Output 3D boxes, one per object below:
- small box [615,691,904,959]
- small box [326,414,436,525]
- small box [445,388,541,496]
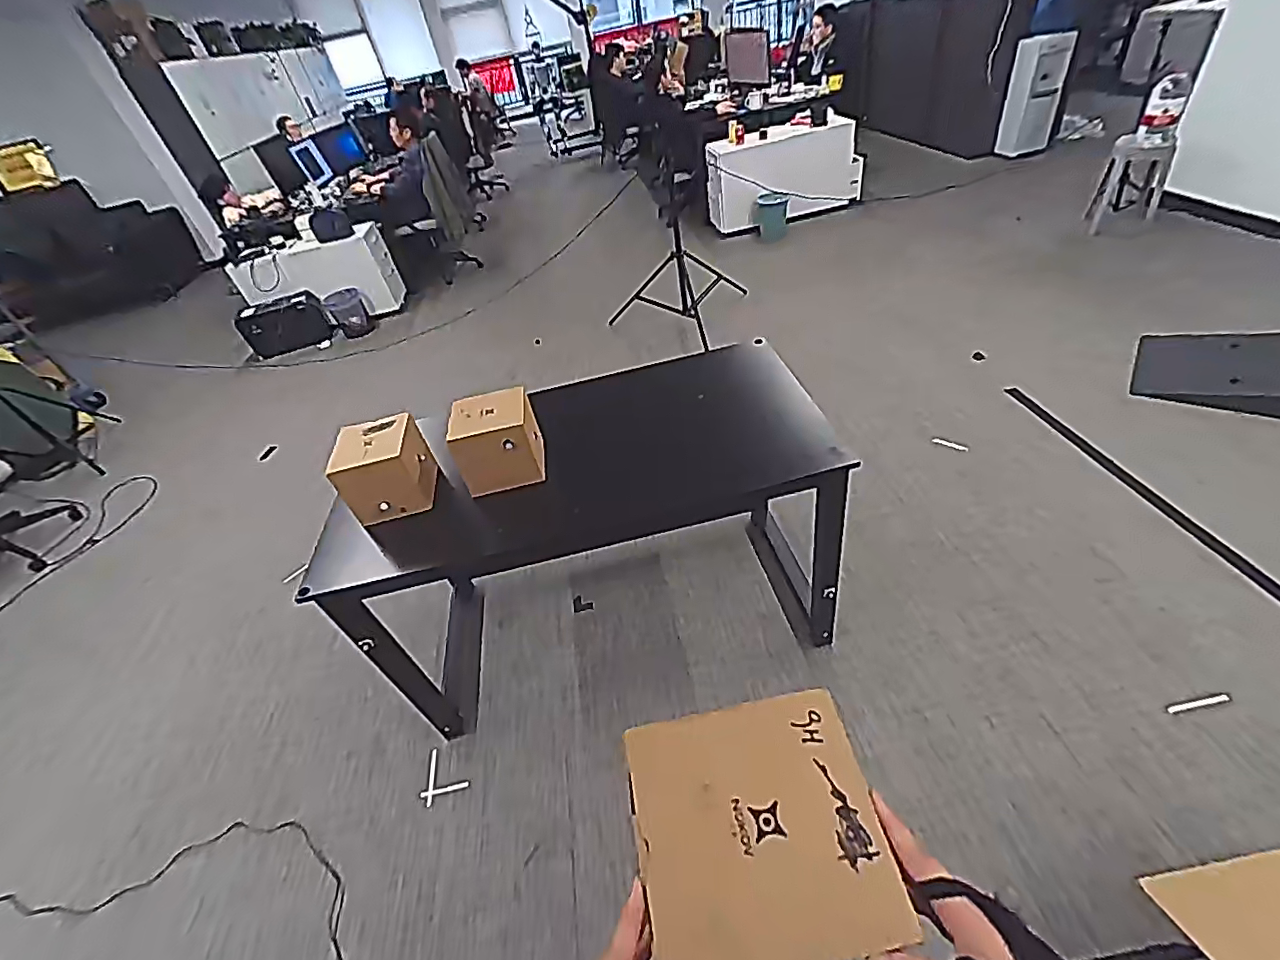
[{"bbox_3d":[0.086,0.304,0.459,0.179,0.176,0.168,-11,50,-1],"label":"small box"},{"bbox_3d":[-0.594,-0.024,1.268,0.168,0.176,0.179,-15,42,-2],"label":"small box"},{"bbox_3d":[-0.335,-0.088,1.272,0.179,0.176,0.168,-13,40,-1],"label":"small box"}]
